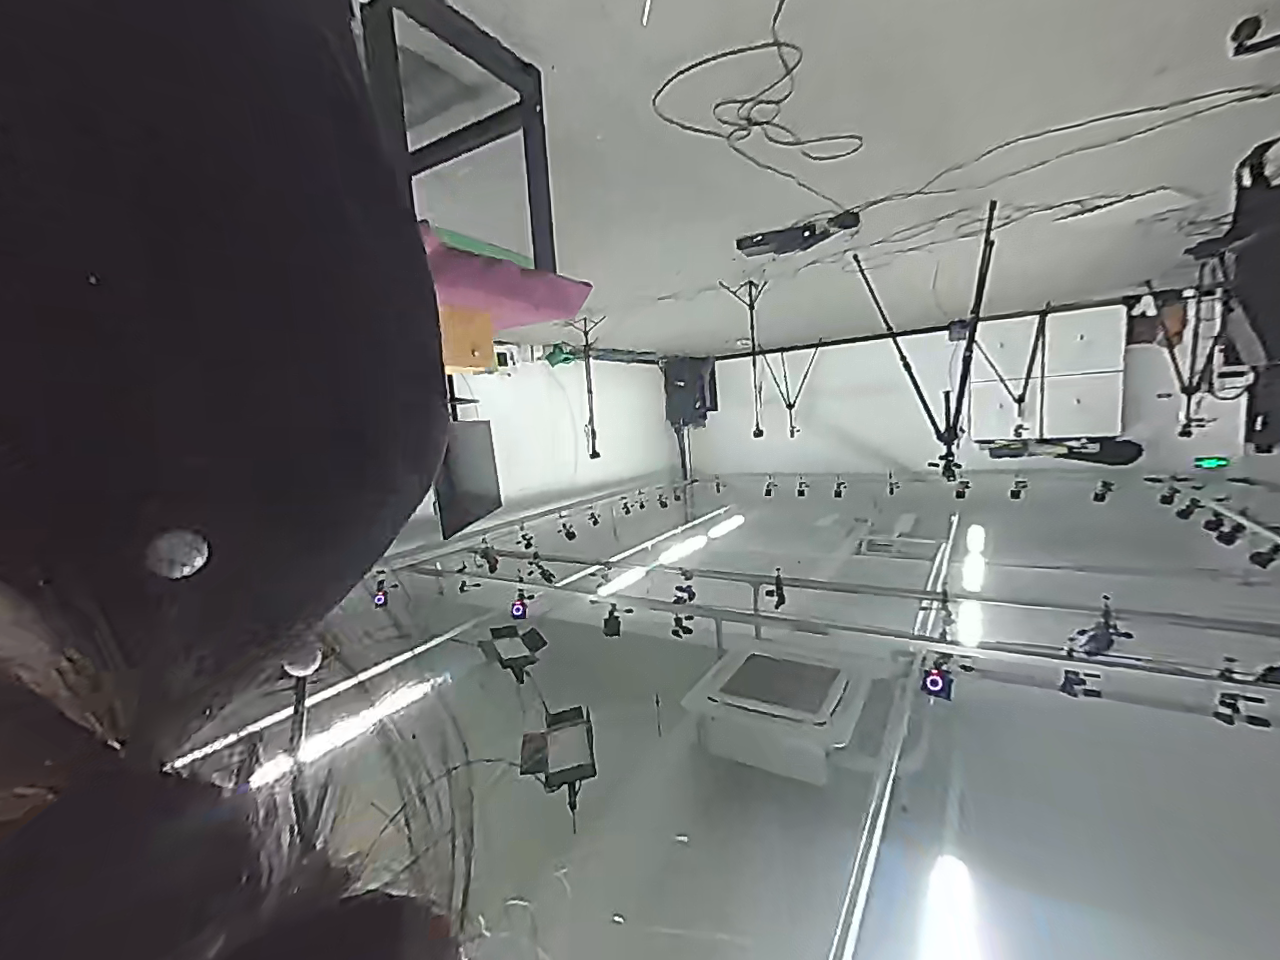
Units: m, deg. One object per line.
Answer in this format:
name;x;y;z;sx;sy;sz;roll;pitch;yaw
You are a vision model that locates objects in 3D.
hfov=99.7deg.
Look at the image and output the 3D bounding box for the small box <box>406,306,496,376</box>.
small box;-0.544;-0.397;1.553;0.168;0.176;0.179;0;-172;33
